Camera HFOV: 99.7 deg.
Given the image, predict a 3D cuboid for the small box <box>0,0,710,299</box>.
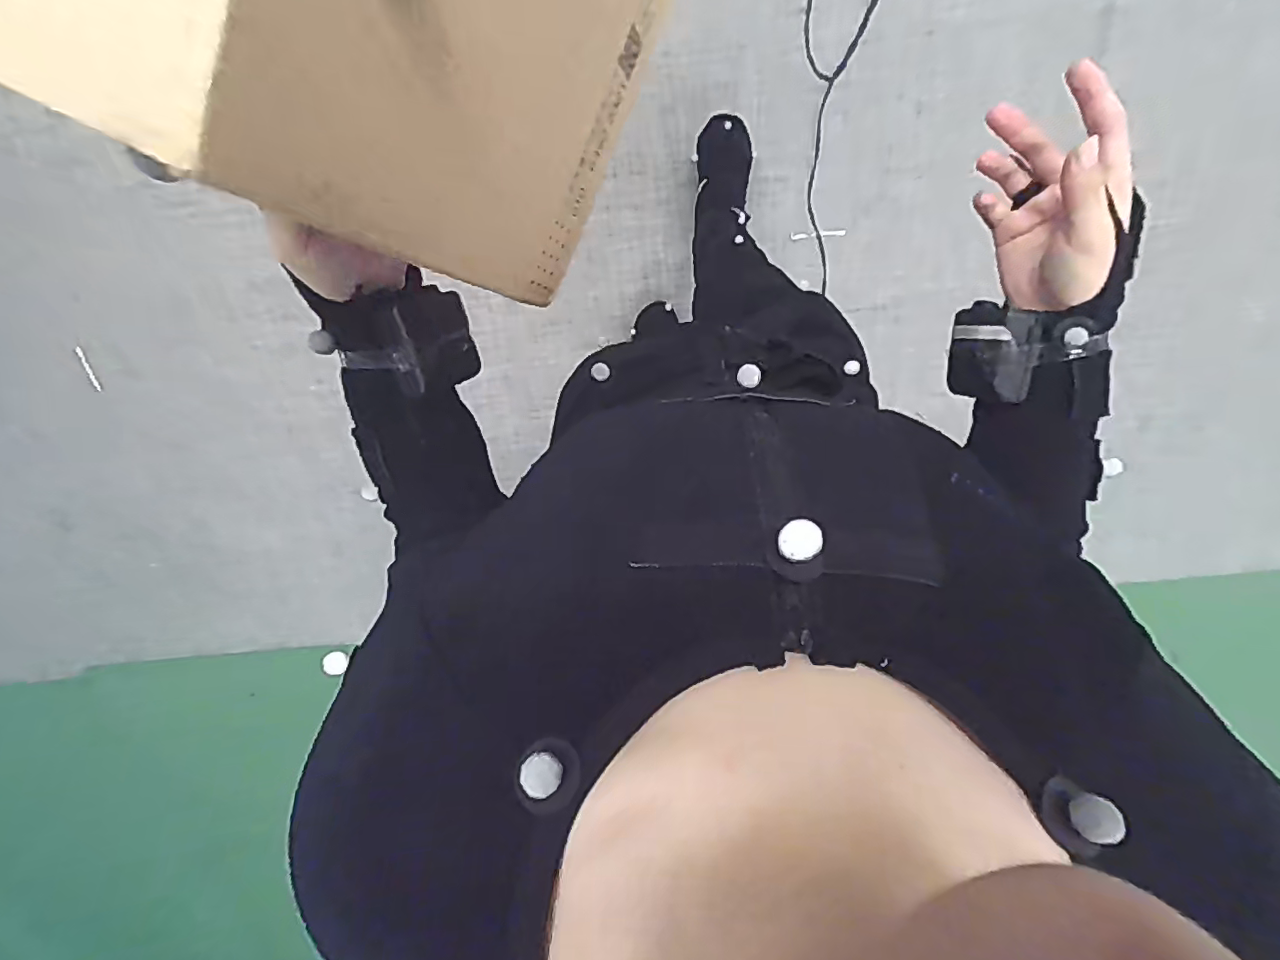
[{"bbox_3d":[-0.092,-0.178,0.180,0.179,0.176,0.168,28,104,8],"label":"small box"}]
